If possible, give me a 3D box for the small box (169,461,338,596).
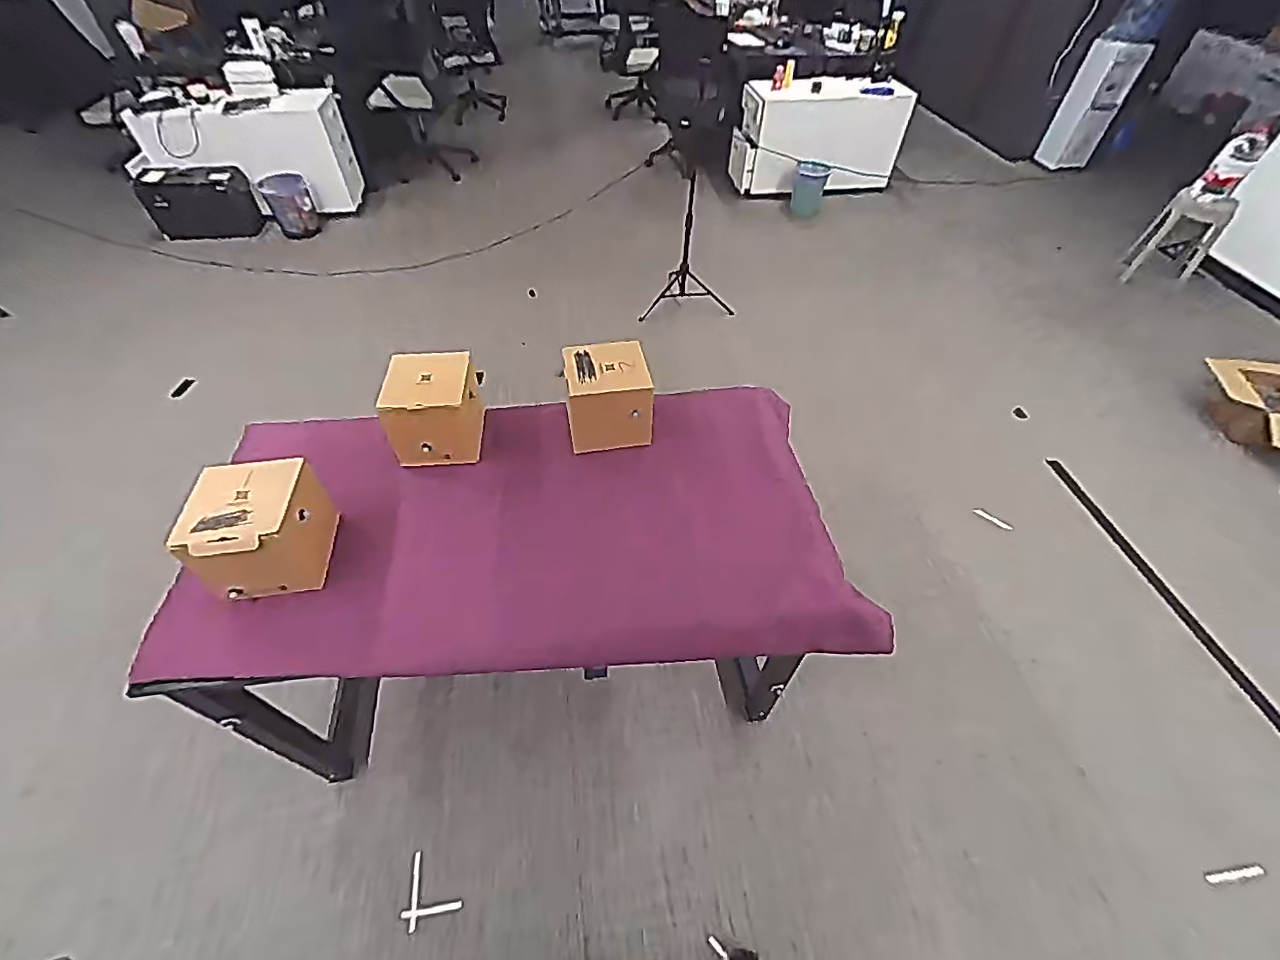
[{"bbox_3d":[-0.664,0.092,0.959,0.168,0.176,0.179,-7,48,-7],"label":"small box"}]

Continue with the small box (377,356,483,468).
[{"bbox_3d":[-0.440,-0.147,1.168,0.168,0.176,0.179,-3,50,-5],"label":"small box"}]
